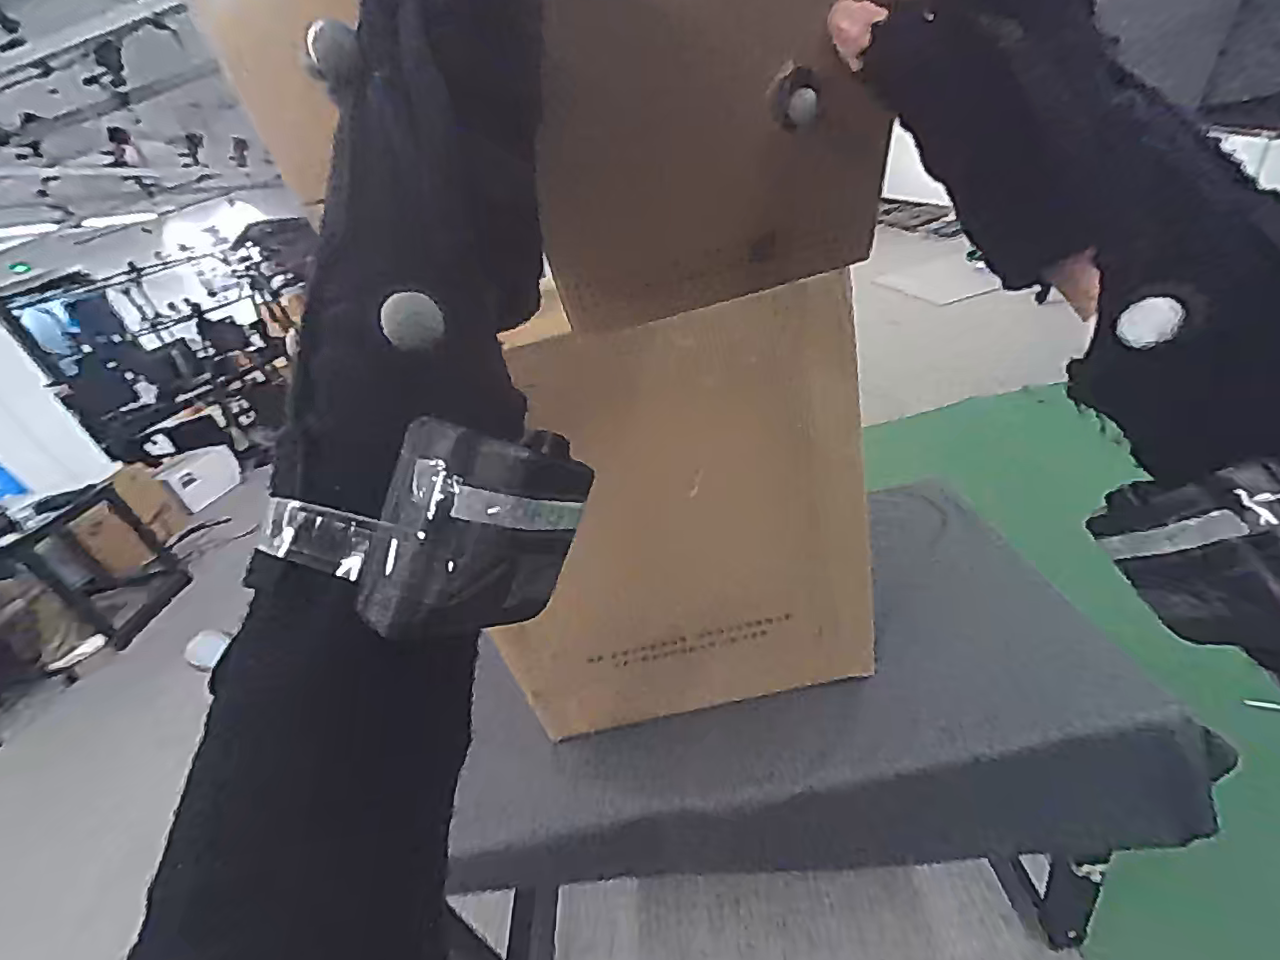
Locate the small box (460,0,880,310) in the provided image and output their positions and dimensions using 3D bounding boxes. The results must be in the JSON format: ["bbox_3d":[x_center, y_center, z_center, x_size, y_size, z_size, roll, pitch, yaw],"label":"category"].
[{"bbox_3d":[0.013,-0.211,0.289,0.168,0.176,0.179,-14,51,0],"label":"small box"}]
